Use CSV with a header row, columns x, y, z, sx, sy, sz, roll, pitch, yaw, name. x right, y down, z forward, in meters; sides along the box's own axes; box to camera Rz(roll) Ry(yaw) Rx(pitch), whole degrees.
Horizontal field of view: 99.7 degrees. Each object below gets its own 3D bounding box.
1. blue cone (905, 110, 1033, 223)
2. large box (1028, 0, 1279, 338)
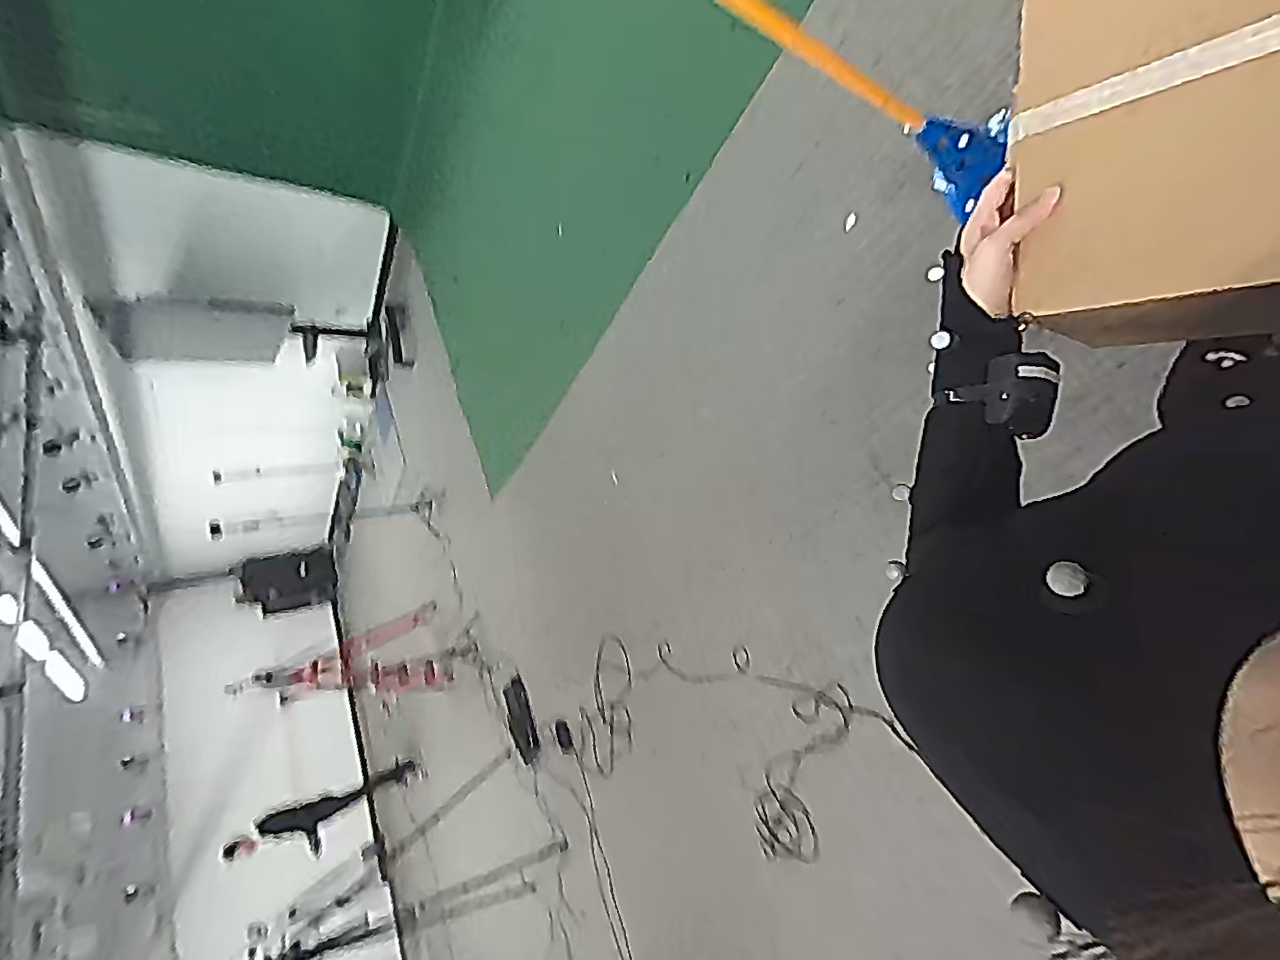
x,y,z,sx,sy,sz,roll,pitch,yaw,name
0.711,-0.748,1.229,0.193,0.380,0.192,-36,66,47,blue cone
0.567,-0.304,0.400,0.408,0.320,0.320,5,99,48,large box
